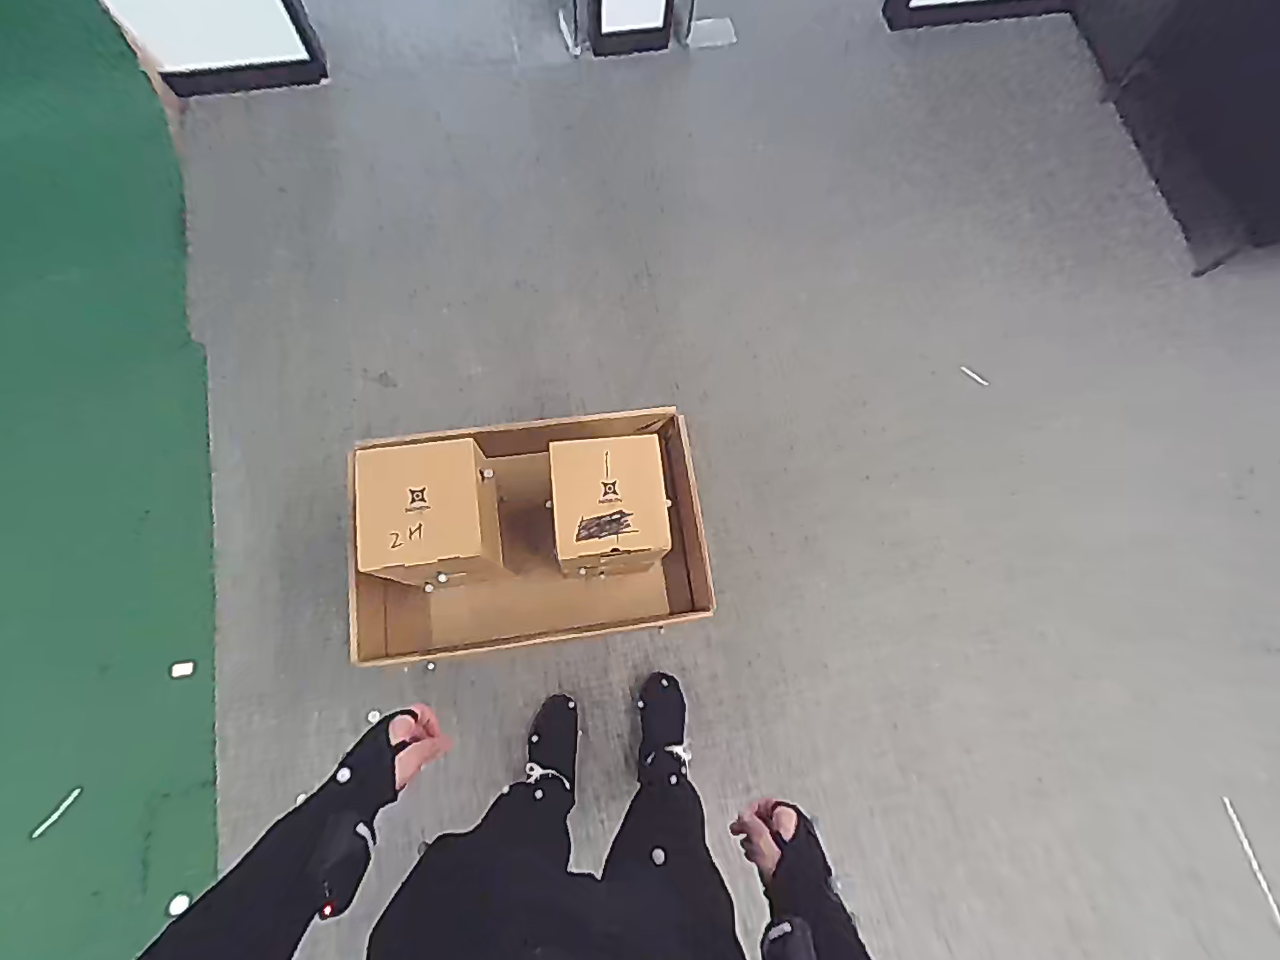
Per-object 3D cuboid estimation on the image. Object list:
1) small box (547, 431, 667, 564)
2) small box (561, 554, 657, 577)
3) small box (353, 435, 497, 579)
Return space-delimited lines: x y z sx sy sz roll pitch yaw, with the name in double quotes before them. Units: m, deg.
"small box" -0.054 0.036 0.854 0.168 0.176 0.179 -5 75 -6
"small box" -0.068 0.080 1.012 0.168 0.176 0.179 -6 76 -6
"small box" -0.320 0.047 0.827 0.168 0.176 0.179 -7 75 -6
